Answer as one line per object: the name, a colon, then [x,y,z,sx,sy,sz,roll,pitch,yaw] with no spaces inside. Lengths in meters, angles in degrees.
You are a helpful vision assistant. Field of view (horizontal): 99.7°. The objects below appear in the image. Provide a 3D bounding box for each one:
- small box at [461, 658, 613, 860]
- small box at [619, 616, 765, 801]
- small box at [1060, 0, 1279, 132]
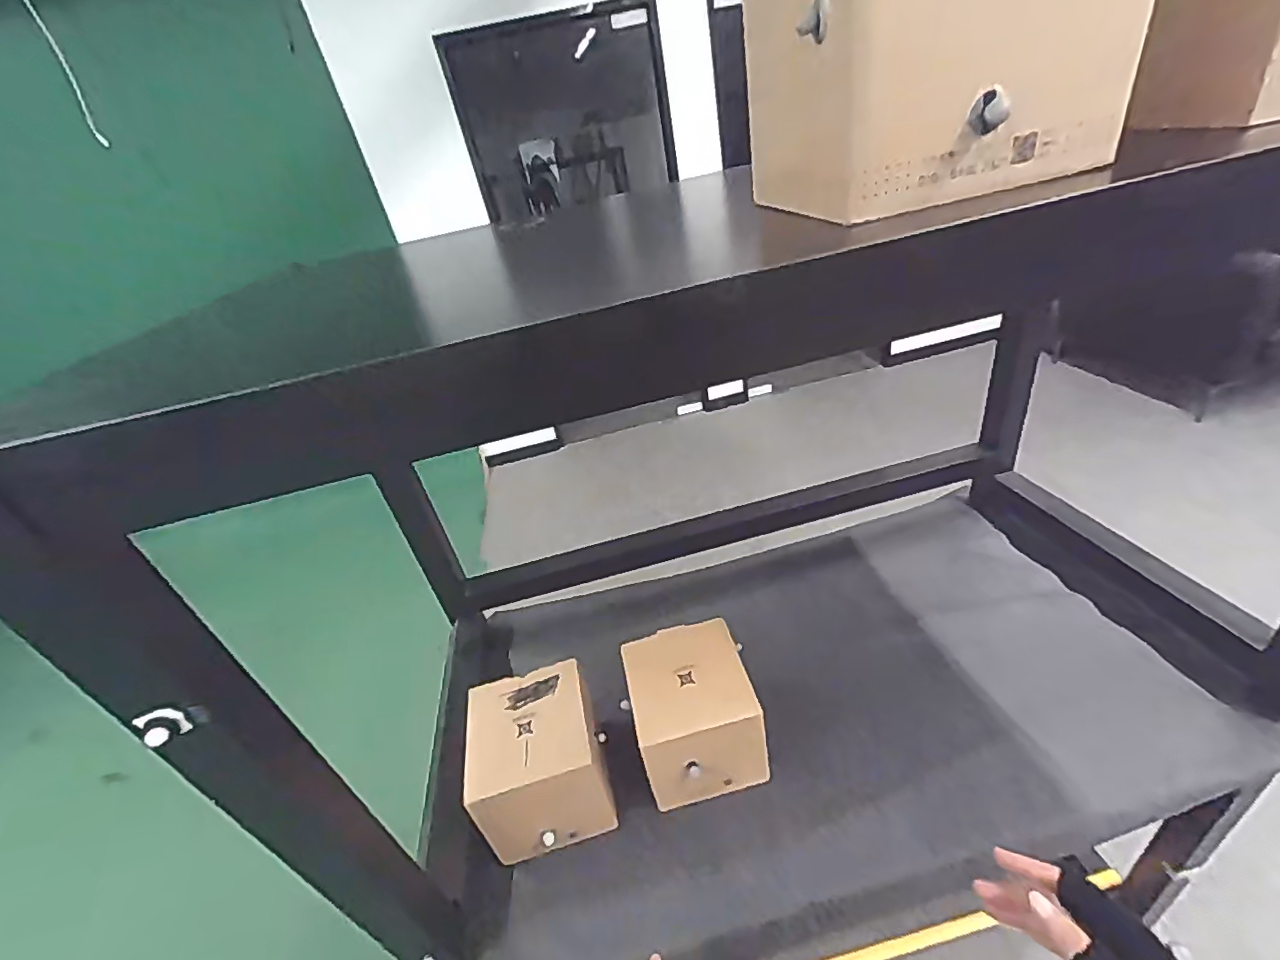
small box: [-0.143,0.396,0.777,0.168,0.176,0.179,-15,32,-5]
small box: [0.076,0.339,0.796,0.168,0.176,0.179,-14,31,-3]
small box: [0.437,-0.351,0.365,0.168,0.176,0.179,-9,31,4]
